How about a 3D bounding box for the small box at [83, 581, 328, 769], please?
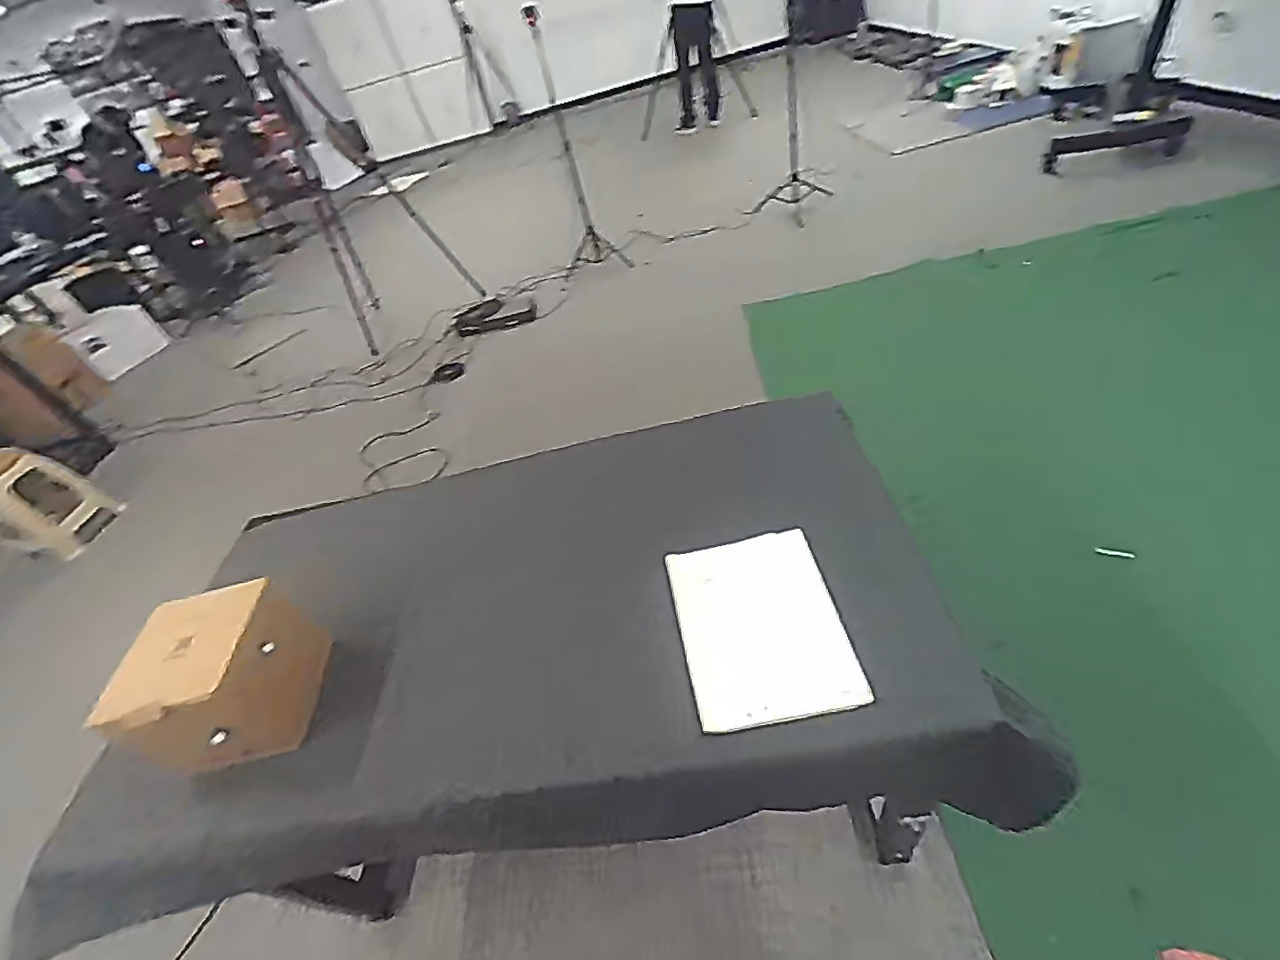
[{"bbox_3d":[-0.569,0.274,0.744,0.168,0.176,0.179,-14,41,2],"label":"small box"}]
